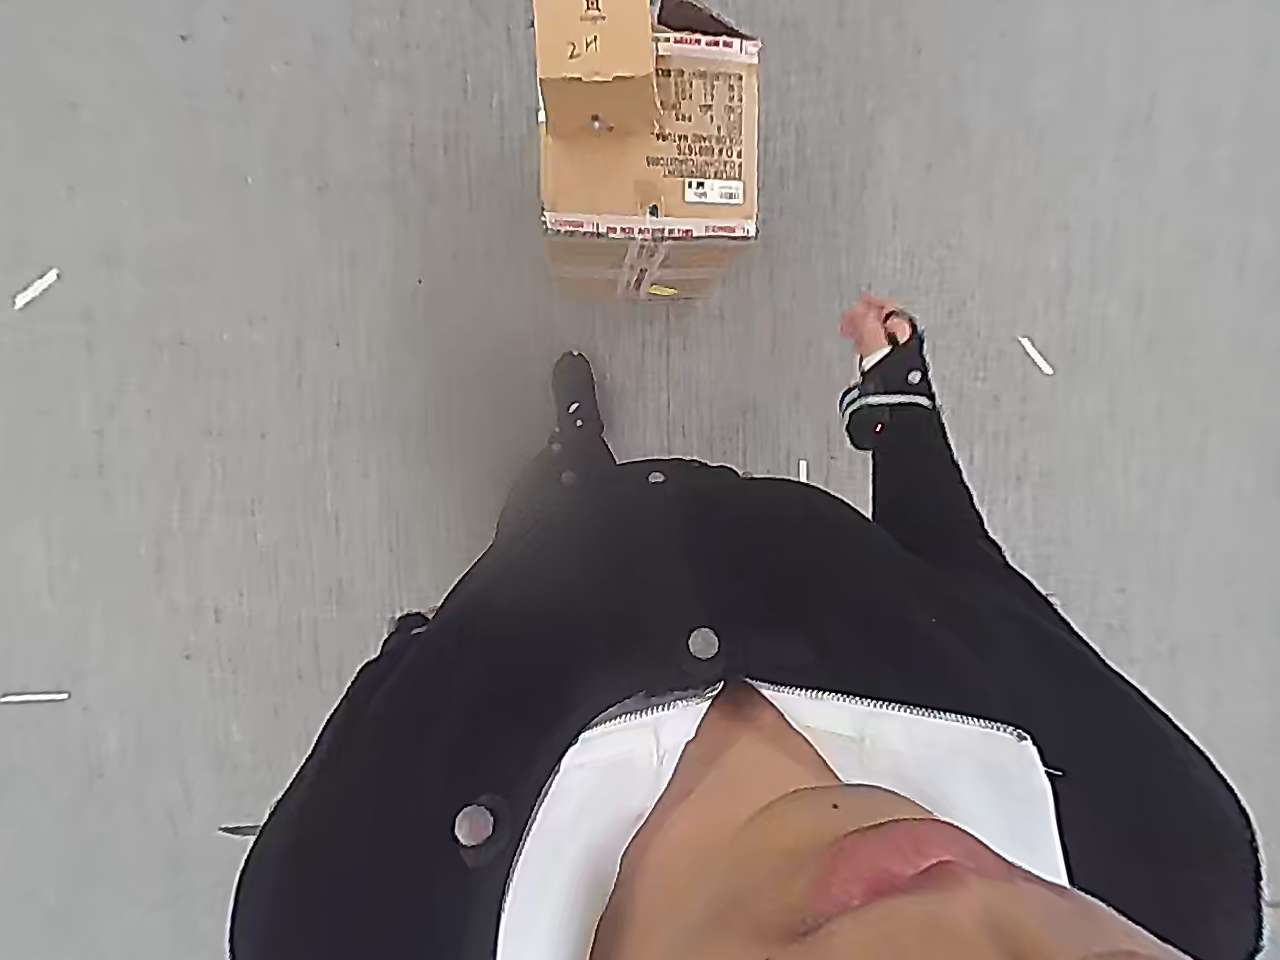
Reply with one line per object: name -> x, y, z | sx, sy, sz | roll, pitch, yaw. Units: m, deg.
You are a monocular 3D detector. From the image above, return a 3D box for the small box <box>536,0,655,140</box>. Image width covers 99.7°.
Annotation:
small box -> -0.069, -0.661, 0.837 | 0.168, 0.176, 0.179 | -4, 99, -3
